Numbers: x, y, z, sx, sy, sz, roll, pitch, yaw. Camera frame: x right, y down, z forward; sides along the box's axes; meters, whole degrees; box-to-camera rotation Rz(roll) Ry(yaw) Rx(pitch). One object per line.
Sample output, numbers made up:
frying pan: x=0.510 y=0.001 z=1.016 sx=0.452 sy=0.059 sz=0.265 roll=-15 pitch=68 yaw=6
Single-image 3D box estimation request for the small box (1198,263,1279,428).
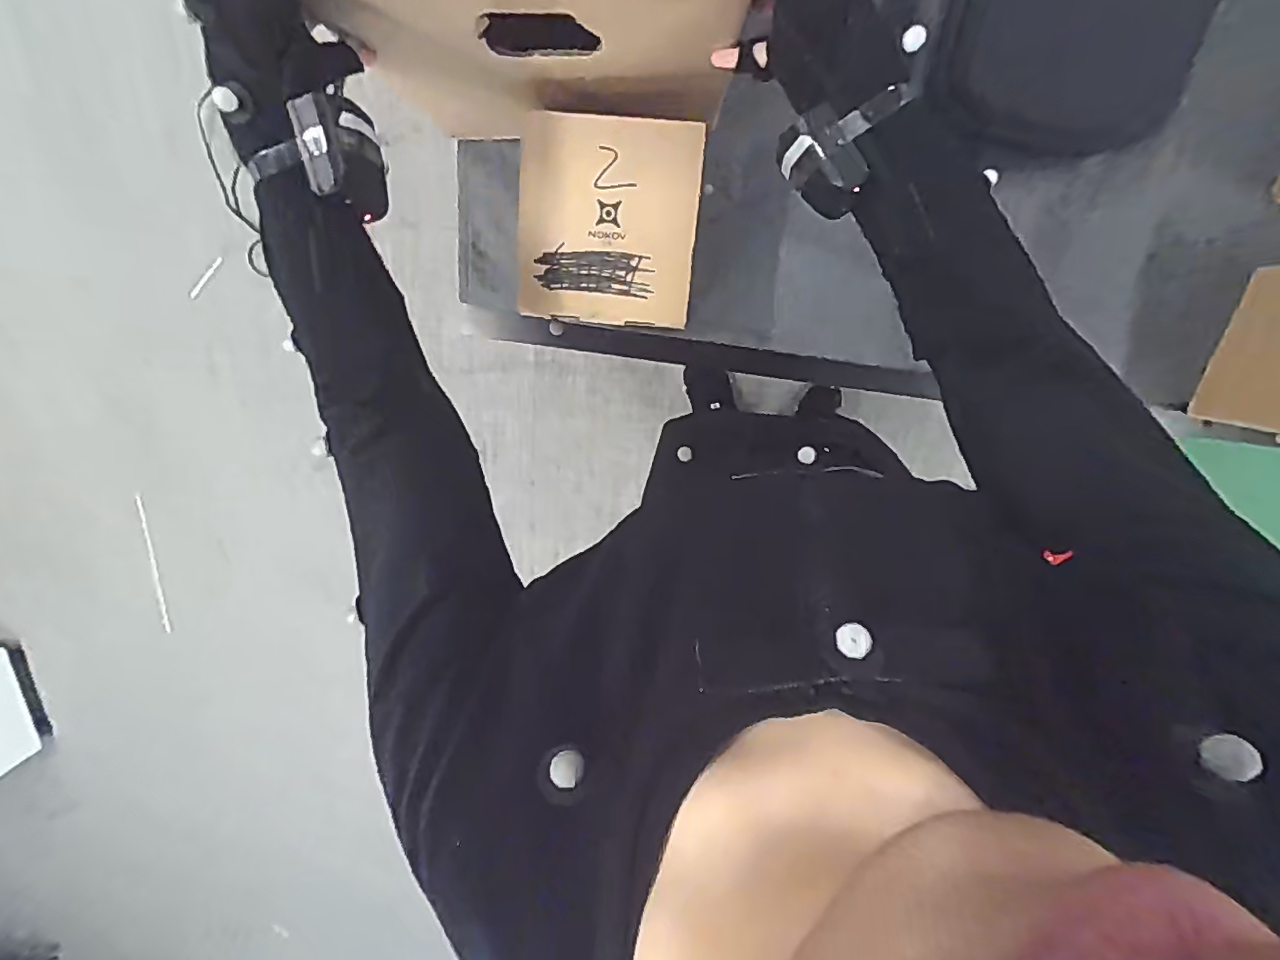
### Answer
small box: x=0.759 y=-0.130 z=0.560 sx=0.168 sy=0.176 sz=0.179 roll=11 pitch=108 yaw=2
